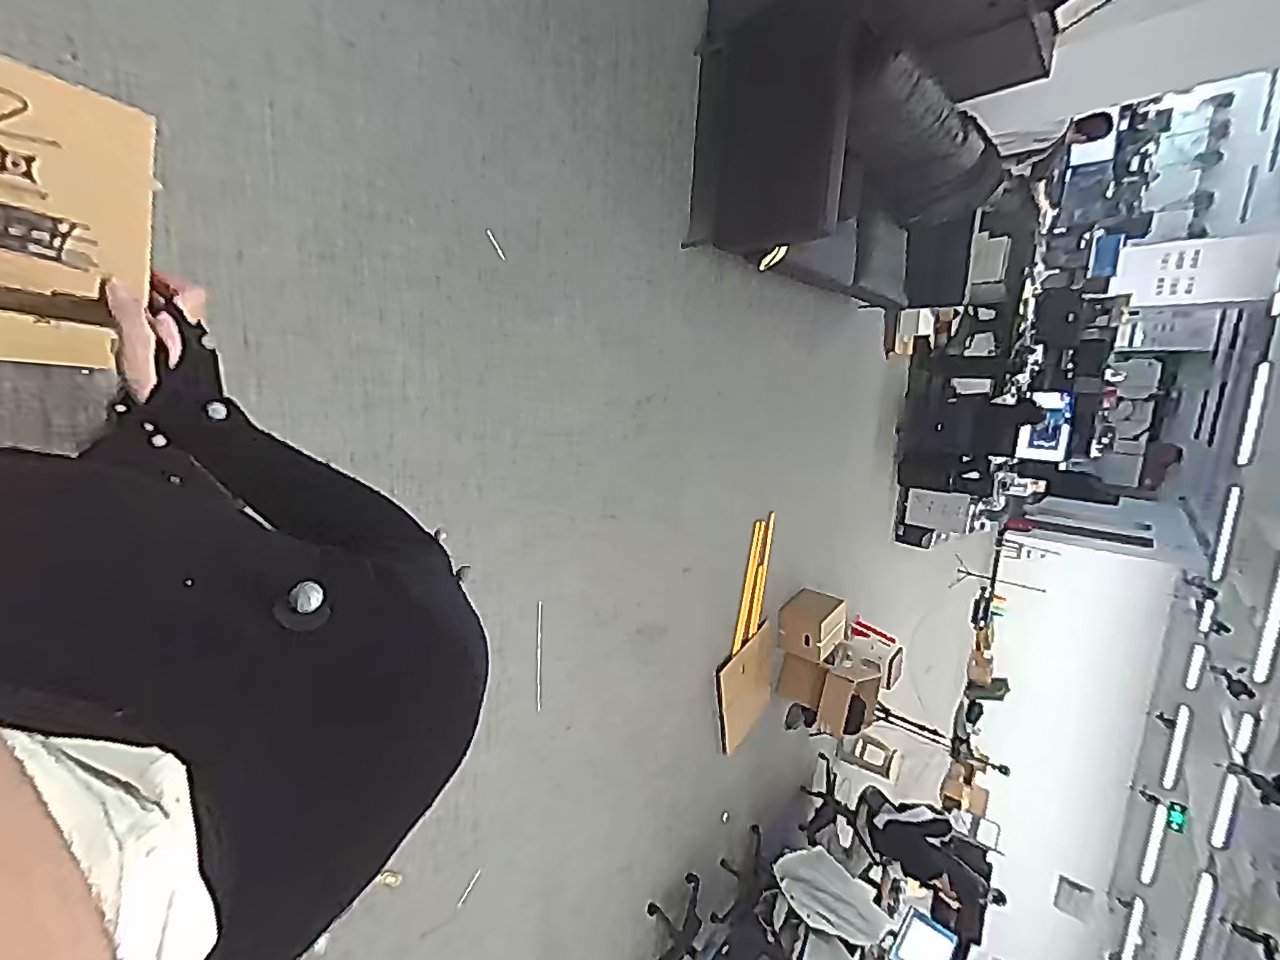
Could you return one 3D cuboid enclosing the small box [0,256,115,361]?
[{"bbox_3d":[-1.147,-0.323,1.046,0.179,0.176,0.168,-4,101,-48],"label":"small box"}]
